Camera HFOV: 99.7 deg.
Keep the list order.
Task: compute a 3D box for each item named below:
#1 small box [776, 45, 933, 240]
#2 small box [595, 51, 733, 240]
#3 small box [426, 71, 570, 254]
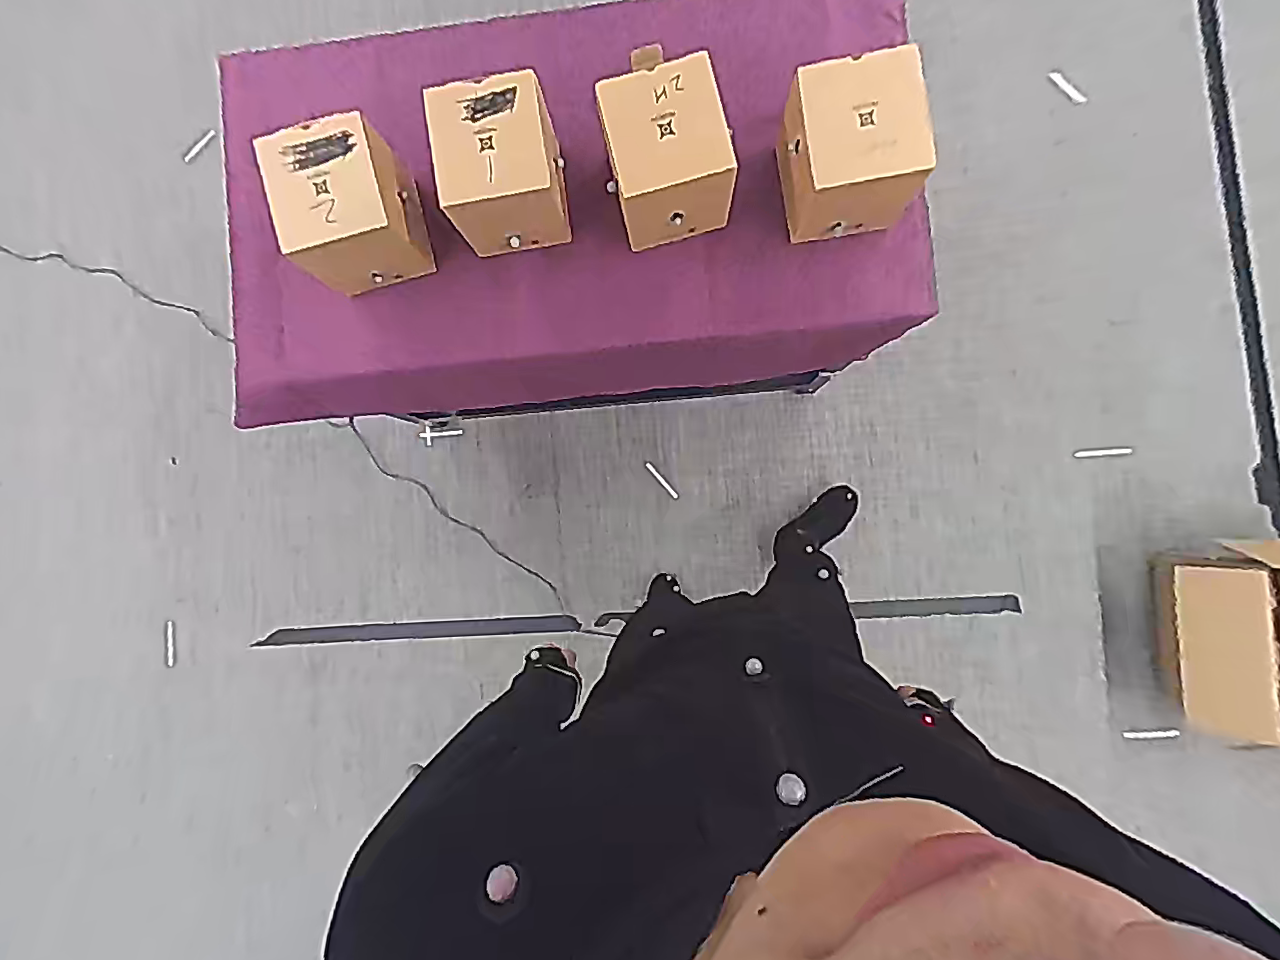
[{"bbox_3d":[0.311,-0.498,0.821,0.168,0.176,0.179,-9,87,4],"label":"small box"},{"bbox_3d":[0.039,-0.497,0.837,0.168,0.176,0.179,-14,87,2],"label":"small box"},{"bbox_3d":[-0.214,-0.487,0.853,0.168,0.176,0.179,-9,88,3],"label":"small box"}]
